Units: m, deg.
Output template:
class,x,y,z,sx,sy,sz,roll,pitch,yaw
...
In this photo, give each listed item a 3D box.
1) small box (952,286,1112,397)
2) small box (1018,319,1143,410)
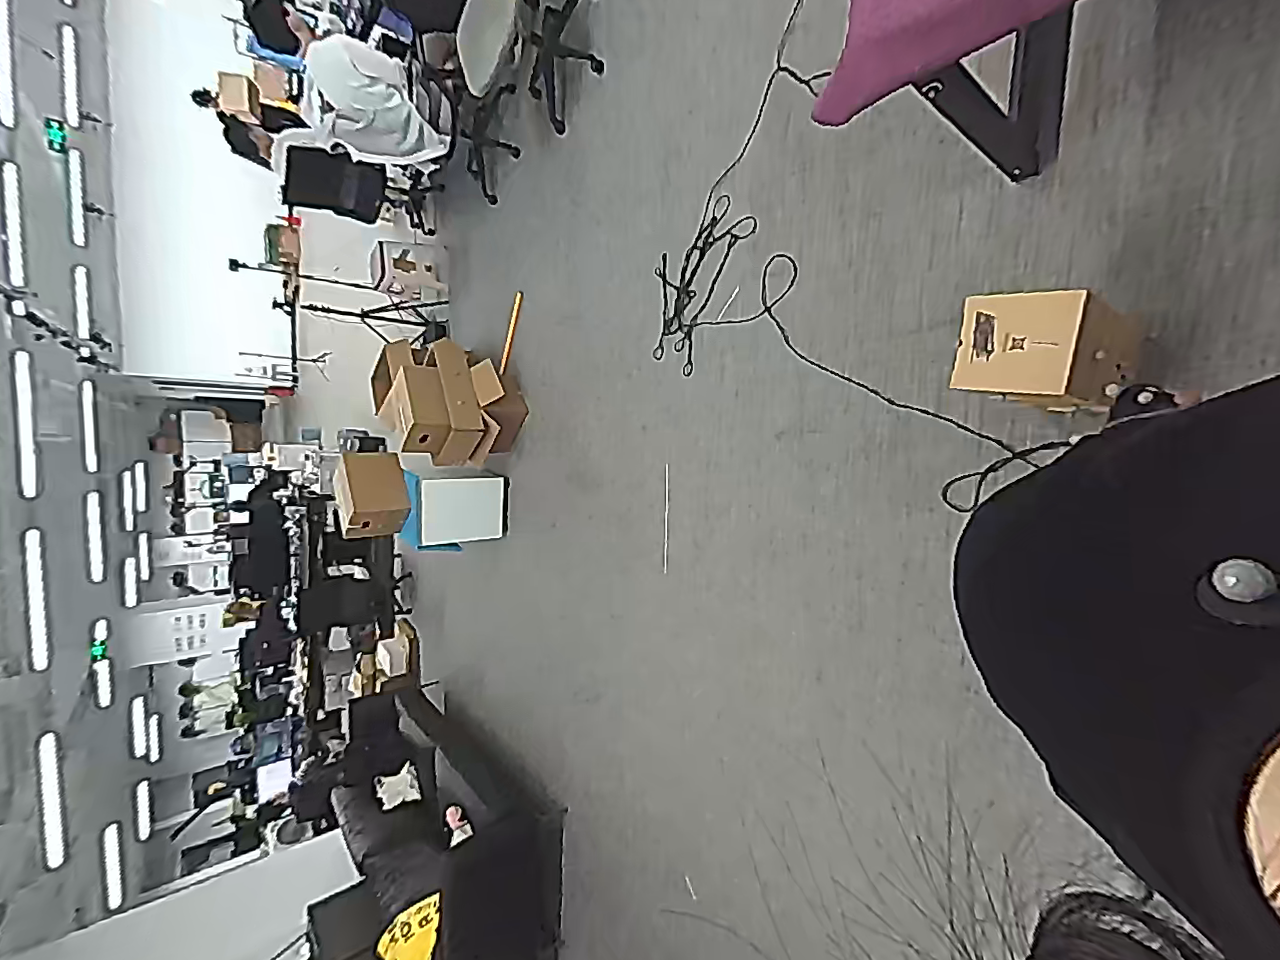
class,x,y,z,sx,sy,sz,roll,pitch,yaw
small box,0.692,-0.238,0.958,0.179,0.176,0.168,17,105,49
small box,0.949,-0.243,1.164,0.168,0.176,0.179,14,103,49
